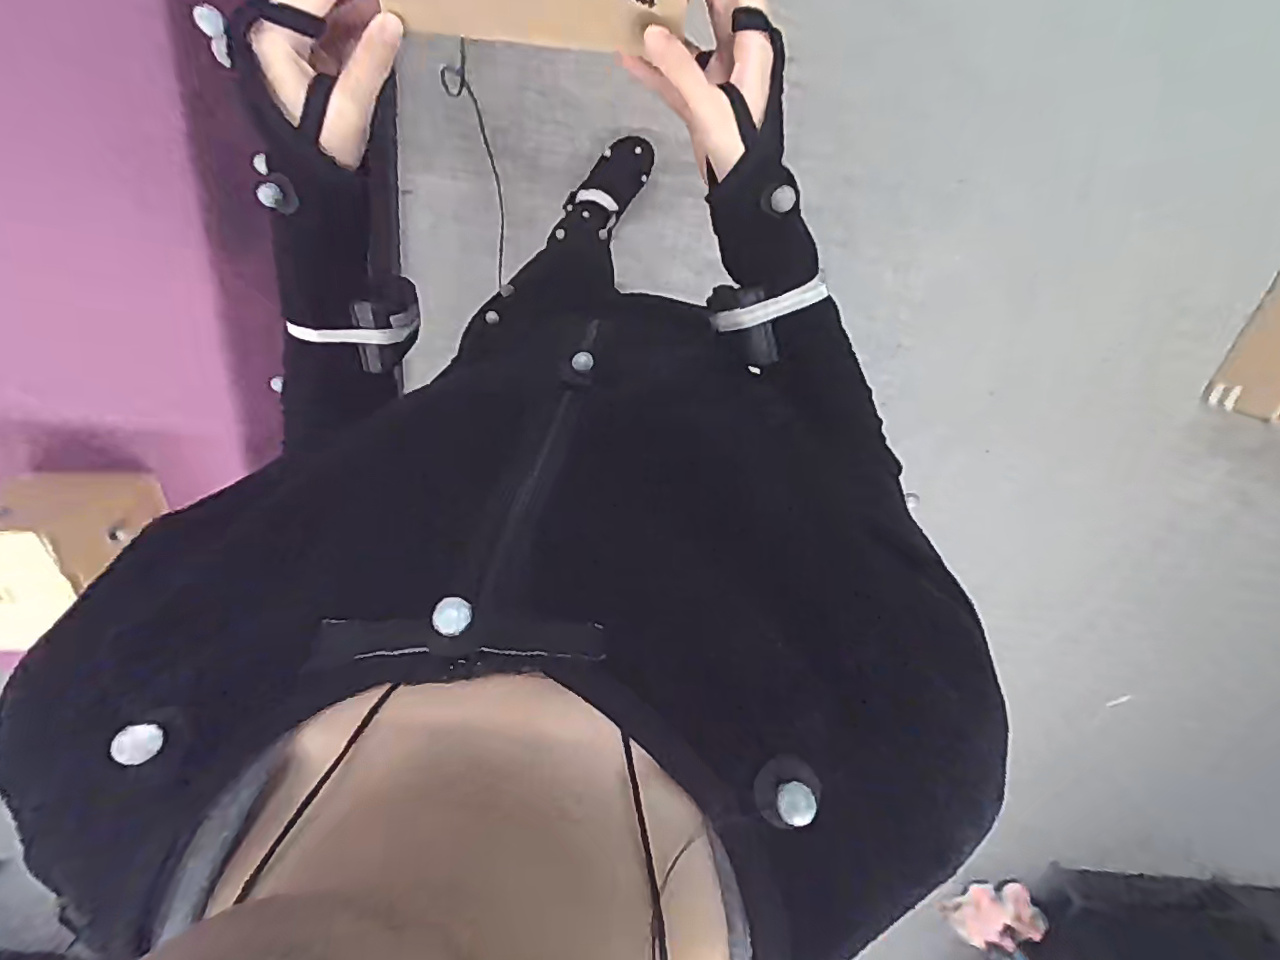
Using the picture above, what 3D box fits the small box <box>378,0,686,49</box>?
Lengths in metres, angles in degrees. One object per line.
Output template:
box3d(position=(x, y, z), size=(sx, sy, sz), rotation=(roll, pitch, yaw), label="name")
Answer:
box3d(position=(-0.055, -0.369, 0.269), size=(0.179, 0.168, 0.176), rotation=(-4, 73, -15), label="small box")

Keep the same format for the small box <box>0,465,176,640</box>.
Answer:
box3d(position=(-0.761, 0.087, 0.704), size=(0.179, 0.176, 0.168), rotation=(2, 114, -1), label="small box")
